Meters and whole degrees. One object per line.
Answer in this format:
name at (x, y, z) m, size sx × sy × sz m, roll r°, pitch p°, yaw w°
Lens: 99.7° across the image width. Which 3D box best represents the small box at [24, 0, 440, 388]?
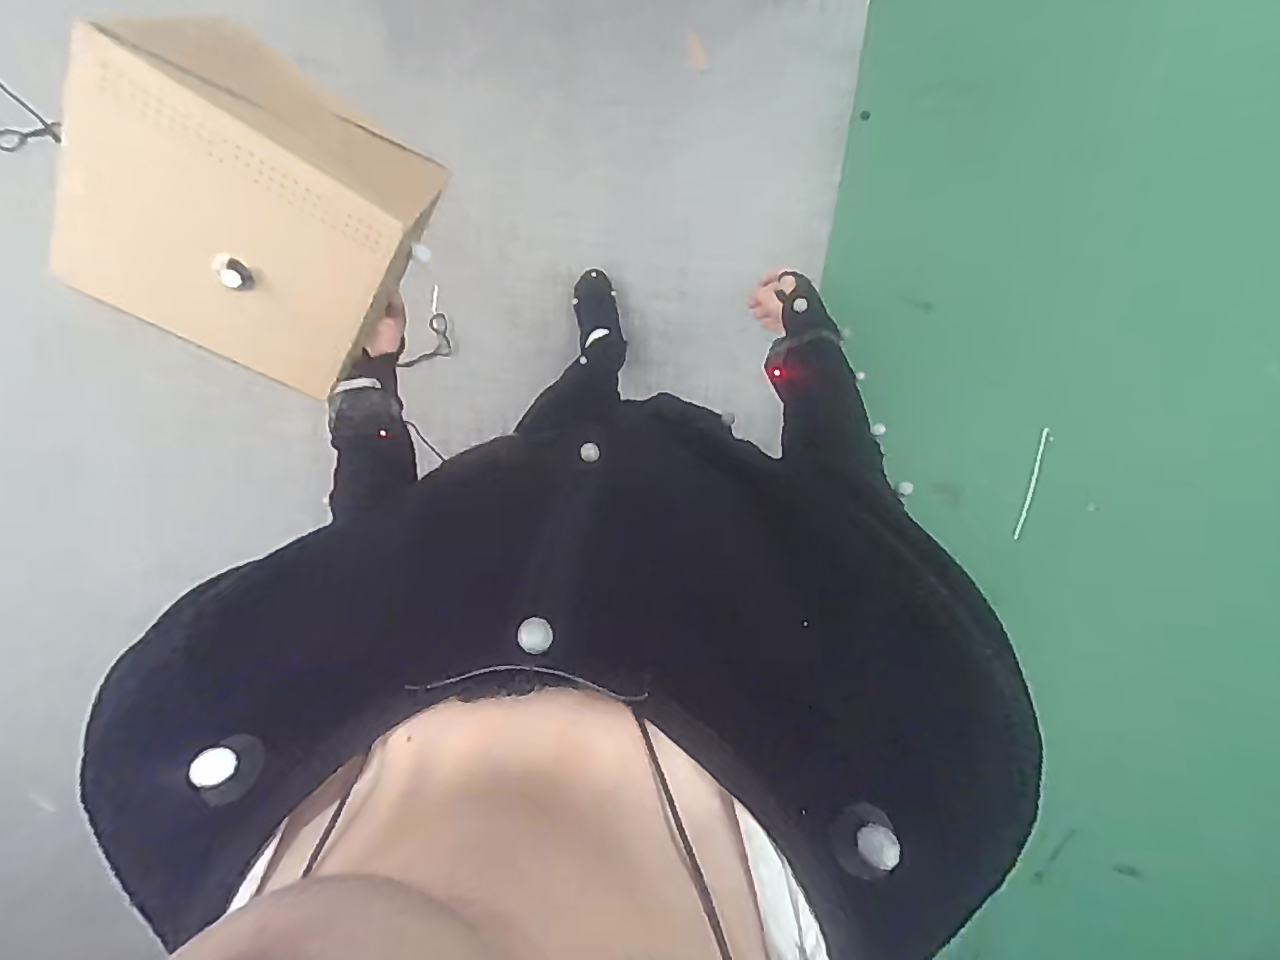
small box at (-0.277, -0.209, 0.399) m, size 0.179 × 0.168 × 0.176 m, roll 28°, pitch 122°, yaw -27°
